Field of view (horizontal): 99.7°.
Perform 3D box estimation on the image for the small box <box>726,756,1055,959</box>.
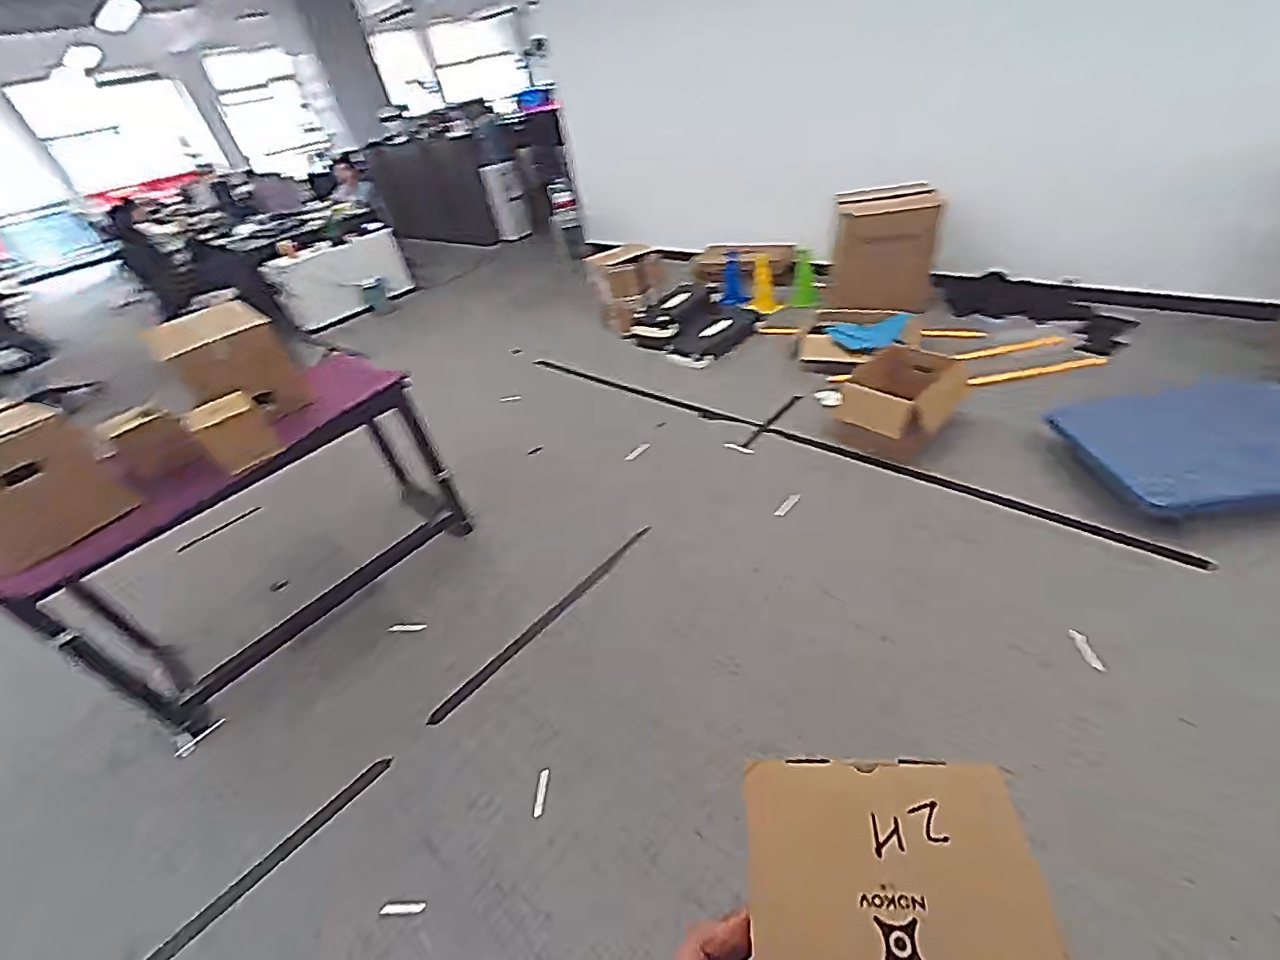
[{"bbox_3d":[0.147,0.302,0.352,0.168,0.176,0.179,-5,42,9],"label":"small box"}]
